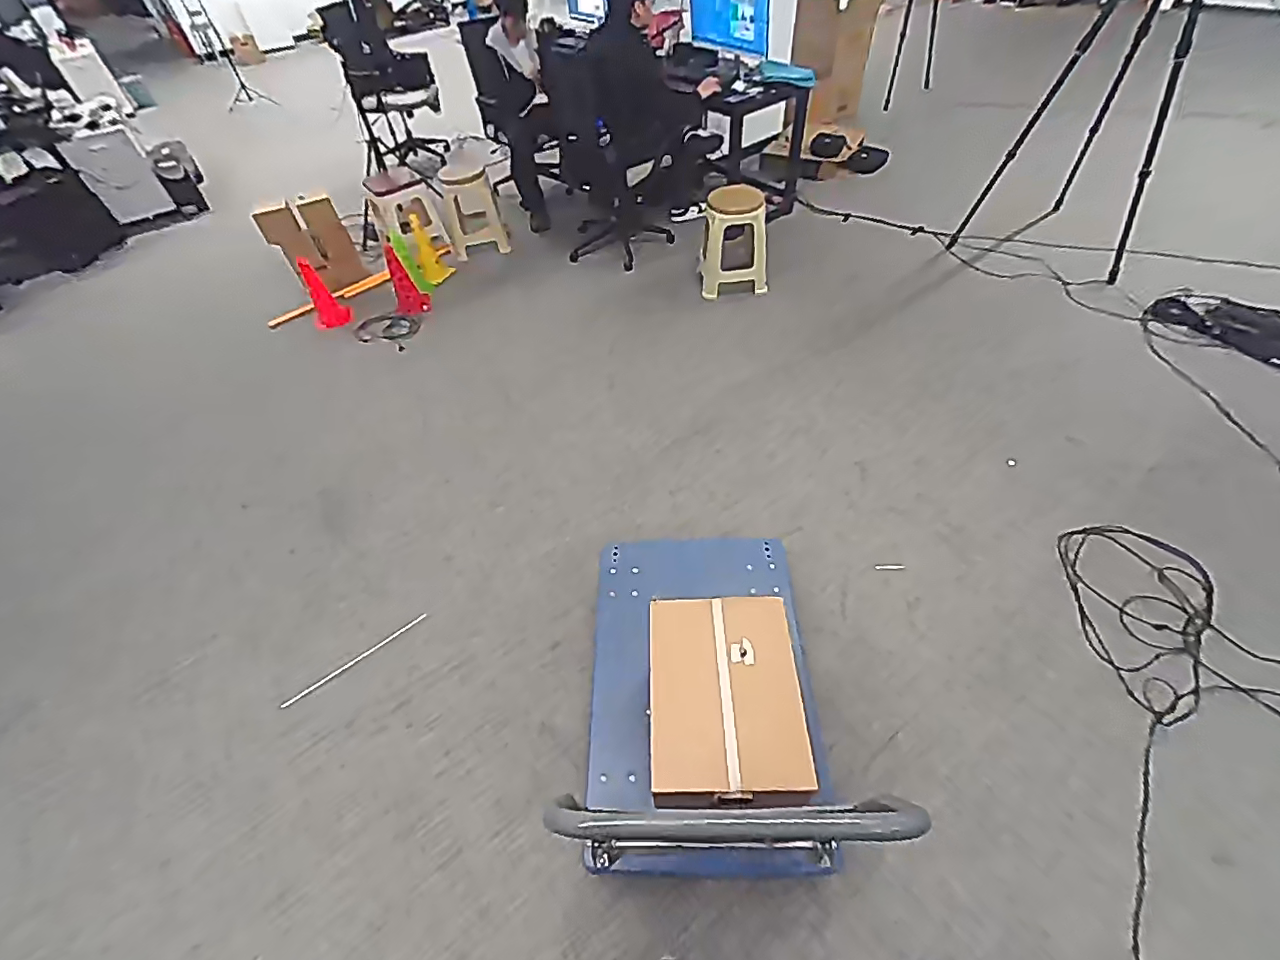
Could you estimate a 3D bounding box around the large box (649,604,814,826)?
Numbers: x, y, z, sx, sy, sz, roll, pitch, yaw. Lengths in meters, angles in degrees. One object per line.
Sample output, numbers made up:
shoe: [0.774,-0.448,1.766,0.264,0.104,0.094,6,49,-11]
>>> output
large box: [0.188,0.548,1.268,0.320,0.320,0.408,-2,48,2]
